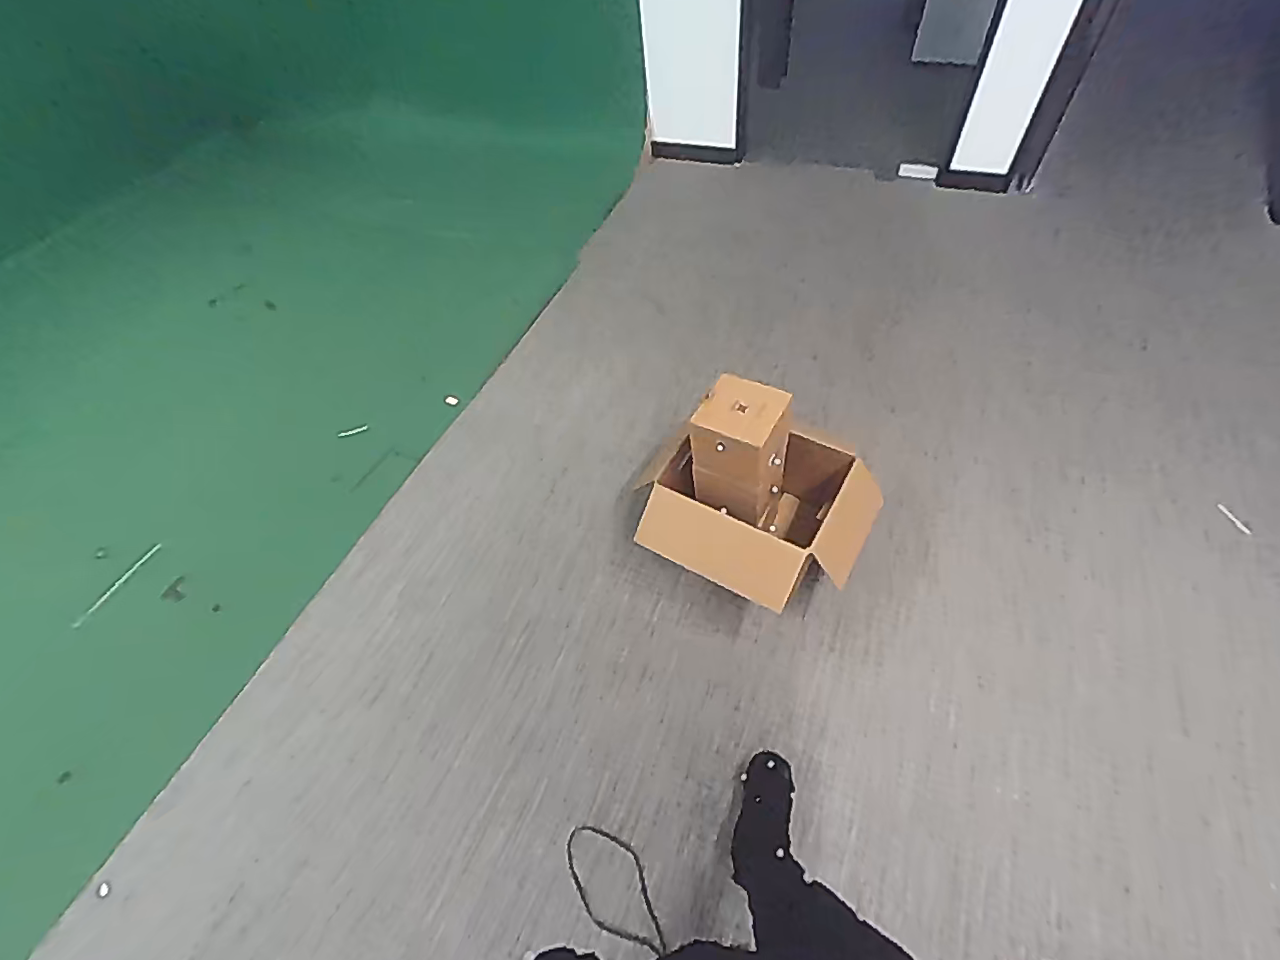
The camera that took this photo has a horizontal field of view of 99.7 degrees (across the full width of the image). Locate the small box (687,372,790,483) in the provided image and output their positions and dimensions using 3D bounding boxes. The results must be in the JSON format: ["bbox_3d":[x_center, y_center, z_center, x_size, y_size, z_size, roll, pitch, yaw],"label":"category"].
[{"bbox_3d":[0.227,-0.117,1.254,0.179,0.176,0.168,23,63,22],"label":"small box"}]
